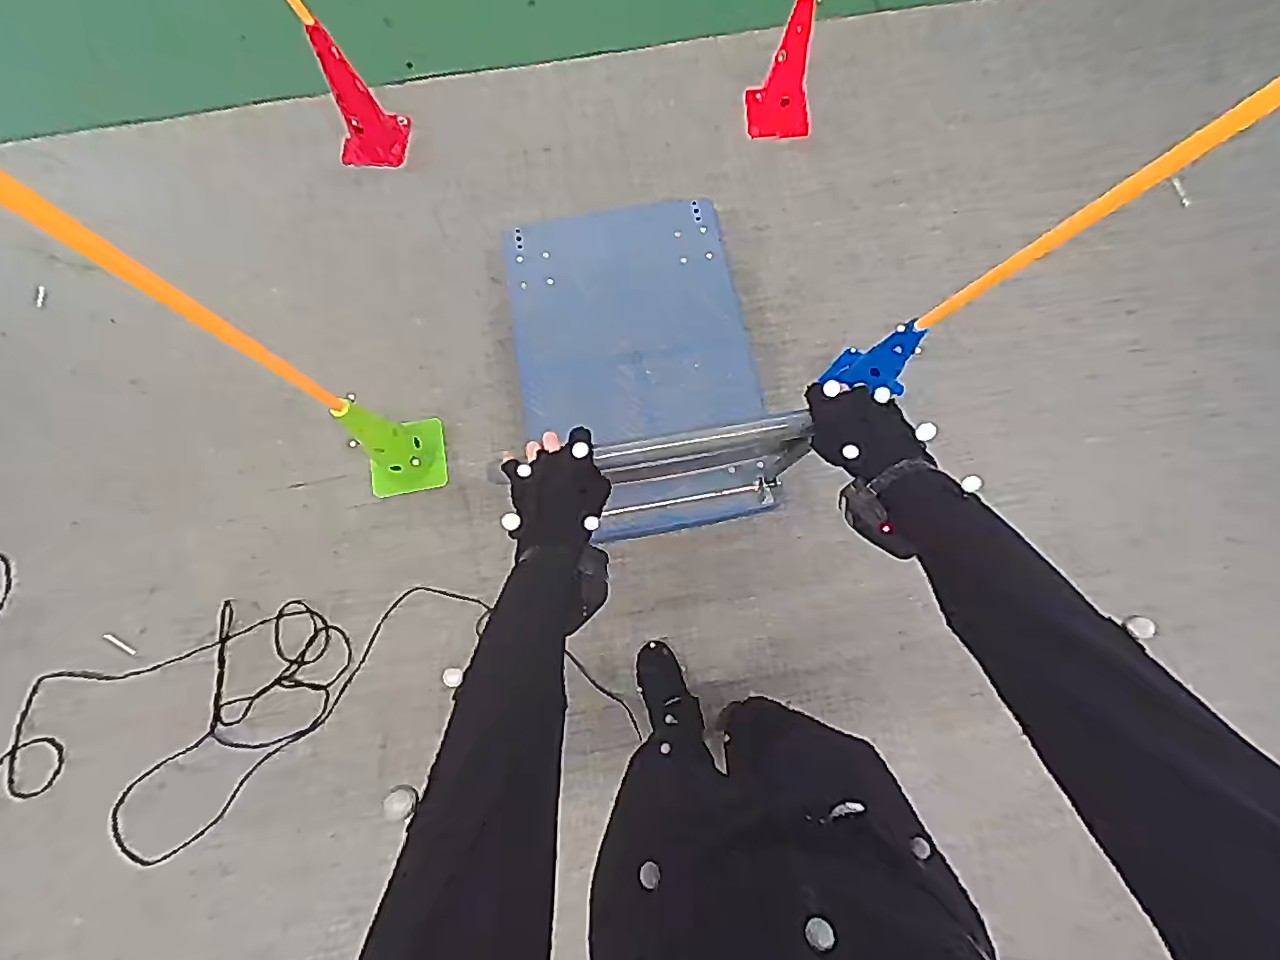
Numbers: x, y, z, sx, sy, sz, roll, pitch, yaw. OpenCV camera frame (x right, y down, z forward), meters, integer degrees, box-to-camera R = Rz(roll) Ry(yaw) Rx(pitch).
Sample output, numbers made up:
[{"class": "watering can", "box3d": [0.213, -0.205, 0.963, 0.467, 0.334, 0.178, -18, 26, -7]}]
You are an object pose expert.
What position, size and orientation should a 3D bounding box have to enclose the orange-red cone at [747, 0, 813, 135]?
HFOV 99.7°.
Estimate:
[{"class": "orange-red cone", "box3d": [0.440, -1.229, 1.571, 0.198, 0.360, 0.199, 1, 77, 2]}]
